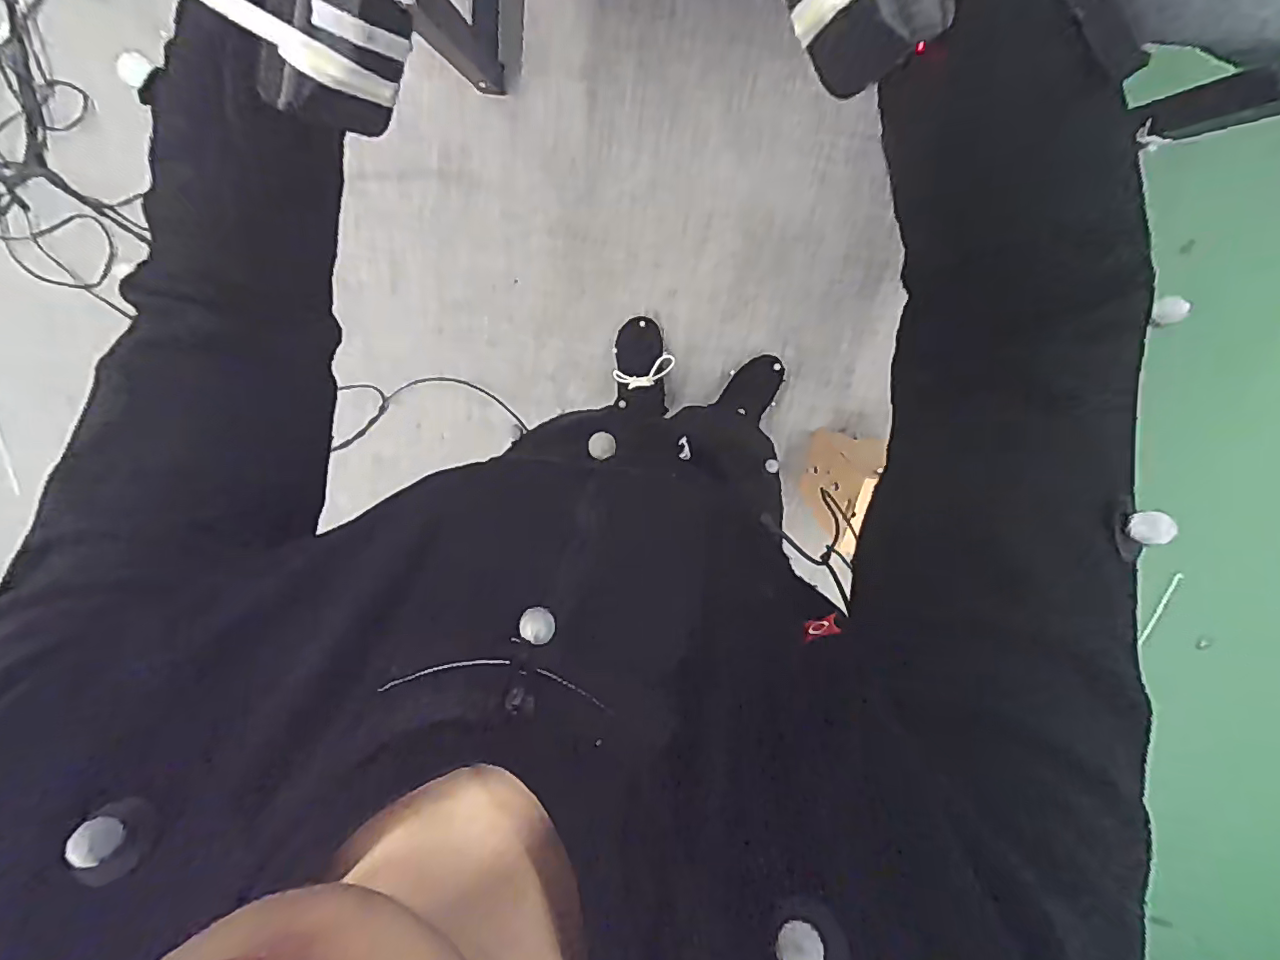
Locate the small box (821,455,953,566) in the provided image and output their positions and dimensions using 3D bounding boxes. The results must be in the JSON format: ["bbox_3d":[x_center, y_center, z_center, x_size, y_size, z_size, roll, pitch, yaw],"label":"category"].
[{"bbox_3d":[0.507,0.058,1.138,0.179,0.176,0.168,10,112,-1],"label":"small box"}]

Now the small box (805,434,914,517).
[{"bbox_3d":[0.511,-0.005,1.290,0.179,0.176,0.168,9,111,0],"label":"small box"}]
